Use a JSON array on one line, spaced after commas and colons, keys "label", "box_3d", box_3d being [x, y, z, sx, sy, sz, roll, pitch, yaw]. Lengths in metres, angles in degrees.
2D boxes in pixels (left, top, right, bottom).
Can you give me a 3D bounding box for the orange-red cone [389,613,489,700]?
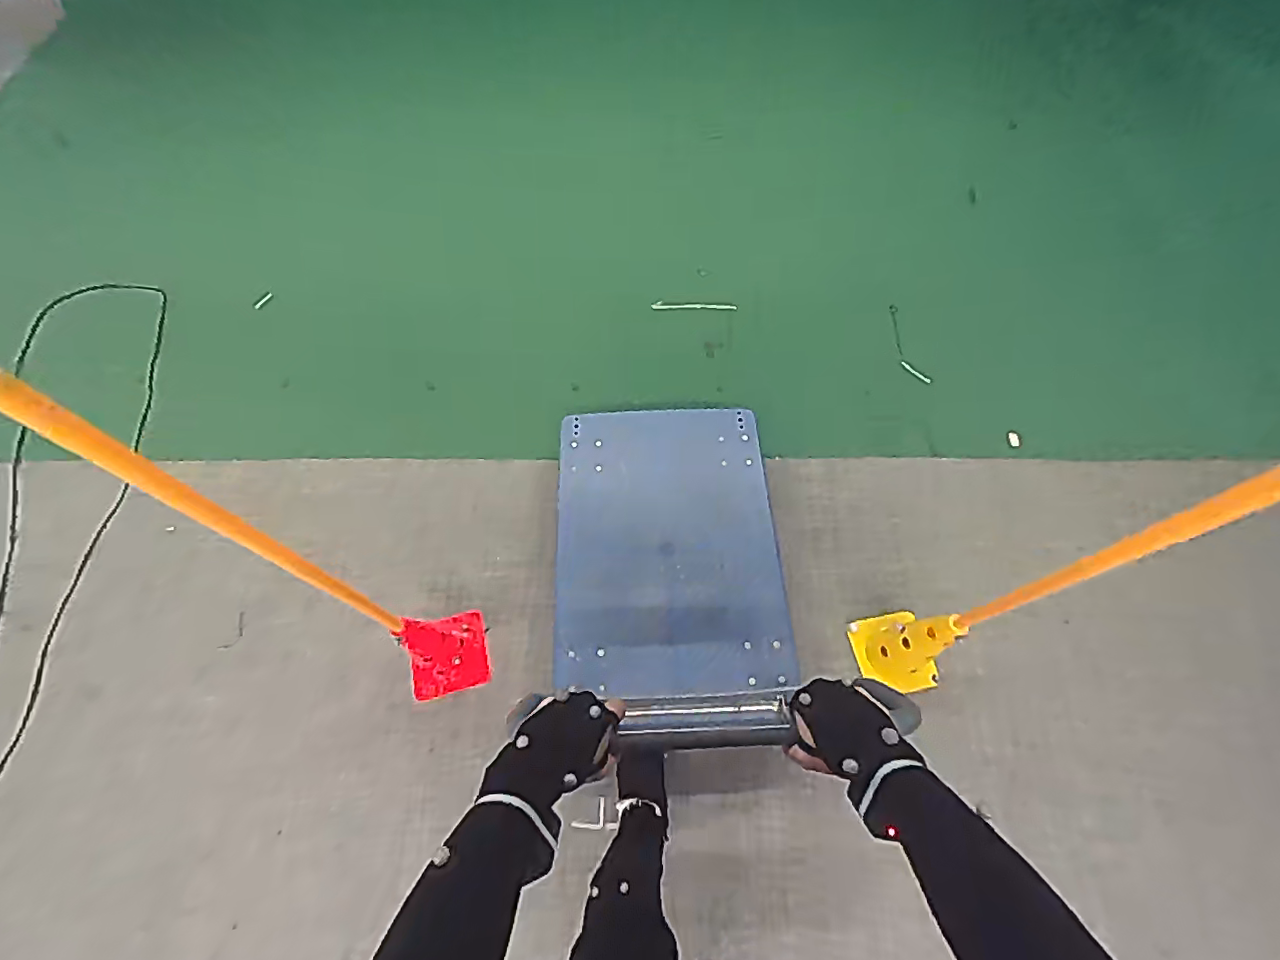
[{"label": "orange-red cone", "box_3d": [-0.511, 0.391, 1.293, 0.199, 0.360, 0.198, -14, 63, -5]}]
